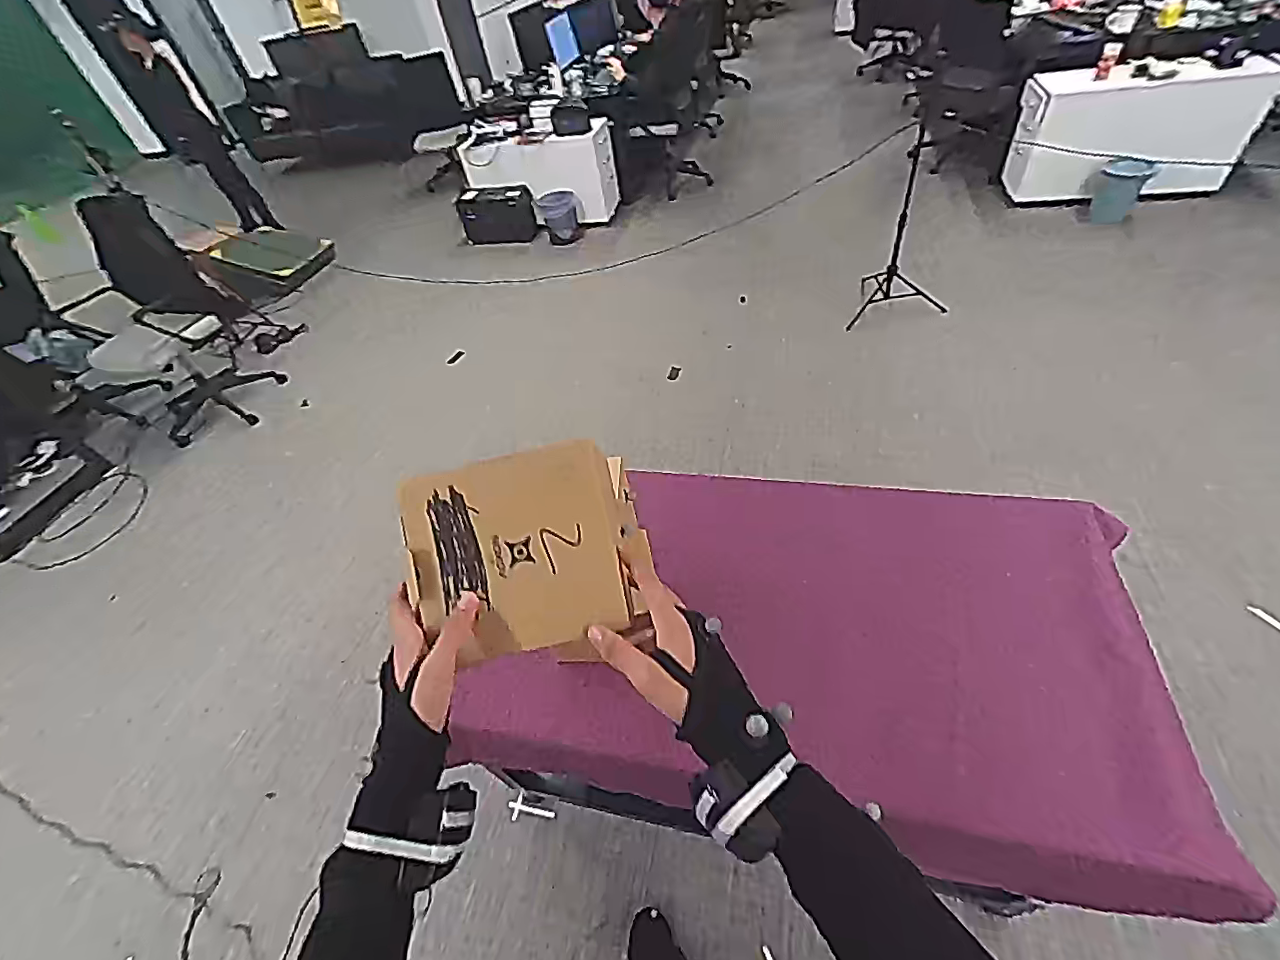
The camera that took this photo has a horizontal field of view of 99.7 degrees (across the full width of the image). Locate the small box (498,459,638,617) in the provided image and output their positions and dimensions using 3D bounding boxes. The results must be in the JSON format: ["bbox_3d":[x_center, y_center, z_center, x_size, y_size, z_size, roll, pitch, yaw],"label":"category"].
[{"bbox_3d":[-0.098,0.091,0.830,0.168,0.176,0.179,-4,47,7],"label":"small box"}]

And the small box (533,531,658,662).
[{"bbox_3d":[-0.068,0.206,0.945,0.179,0.176,0.168,-3,48,7],"label":"small box"}]
